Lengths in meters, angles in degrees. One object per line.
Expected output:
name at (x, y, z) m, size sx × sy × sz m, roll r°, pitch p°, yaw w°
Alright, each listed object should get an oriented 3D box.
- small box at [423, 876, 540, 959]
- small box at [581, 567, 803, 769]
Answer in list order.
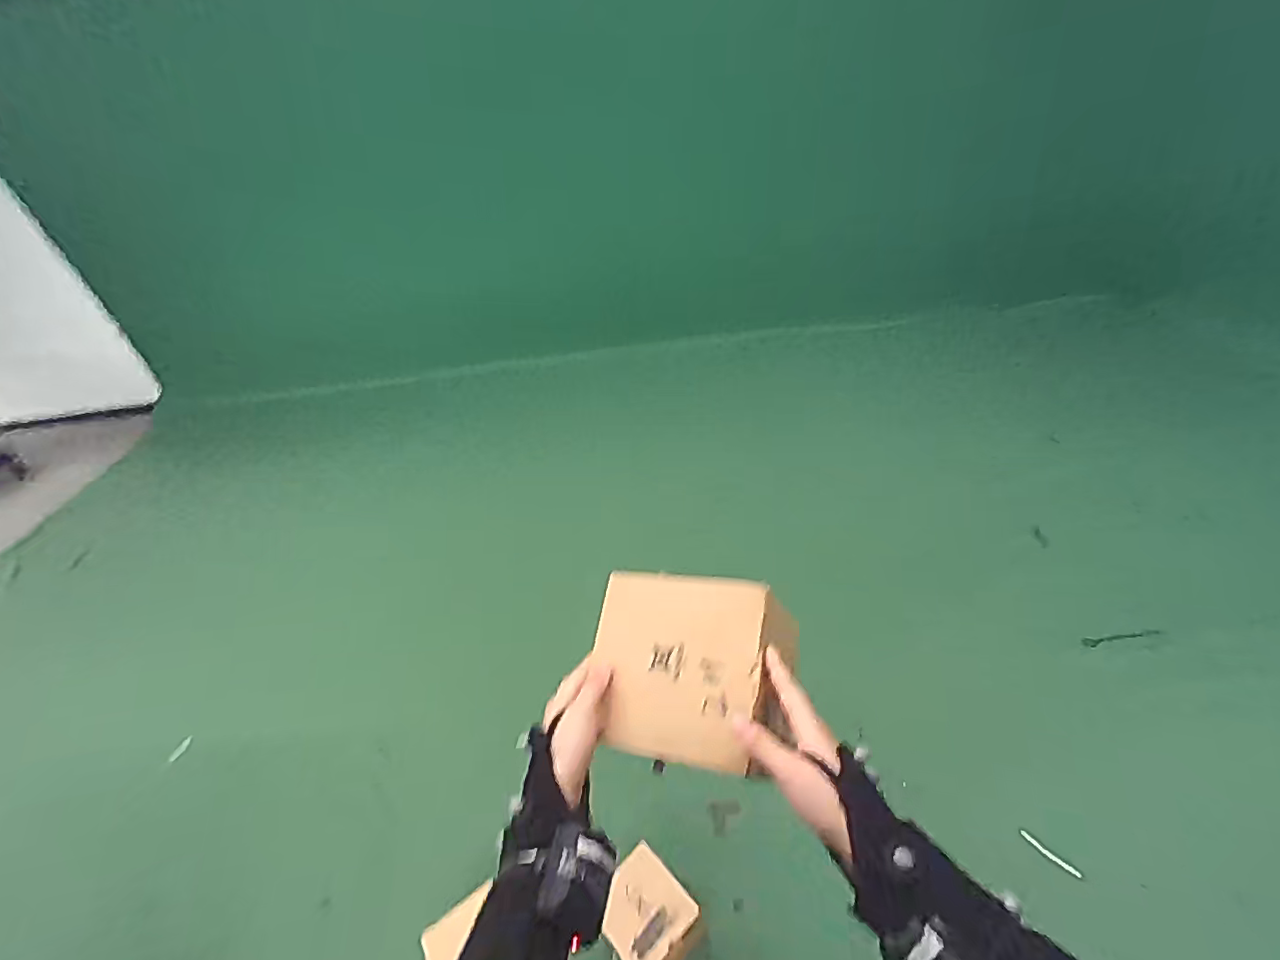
small box at (-0.324, 0.992, 1.131) m, size 0.168 × 0.176 × 0.179 m, roll -29°, pitch 44°, yaw -22°
small box at (0.067, 0.200, 0.575) m, size 0.179 × 0.176 × 0.168 m, roll 0°, pitch 65°, yaw 26°
